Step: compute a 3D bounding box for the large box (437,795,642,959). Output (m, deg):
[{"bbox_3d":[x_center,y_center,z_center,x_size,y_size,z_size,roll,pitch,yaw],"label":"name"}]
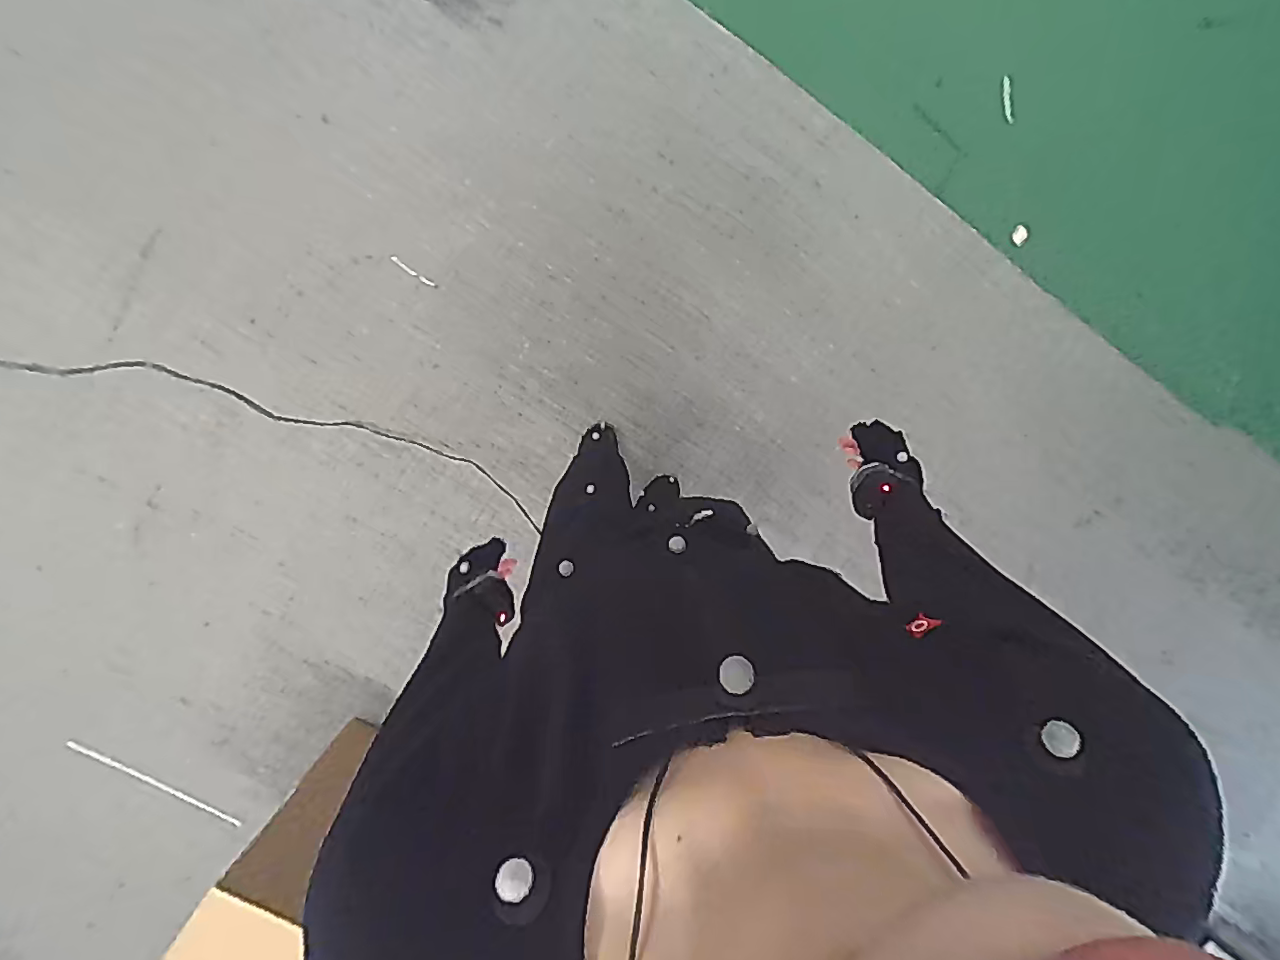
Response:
[{"bbox_3d":[-0.259,1.130,1.418,0.408,0.320,0.320,34,91,-8],"label":"large box"}]
